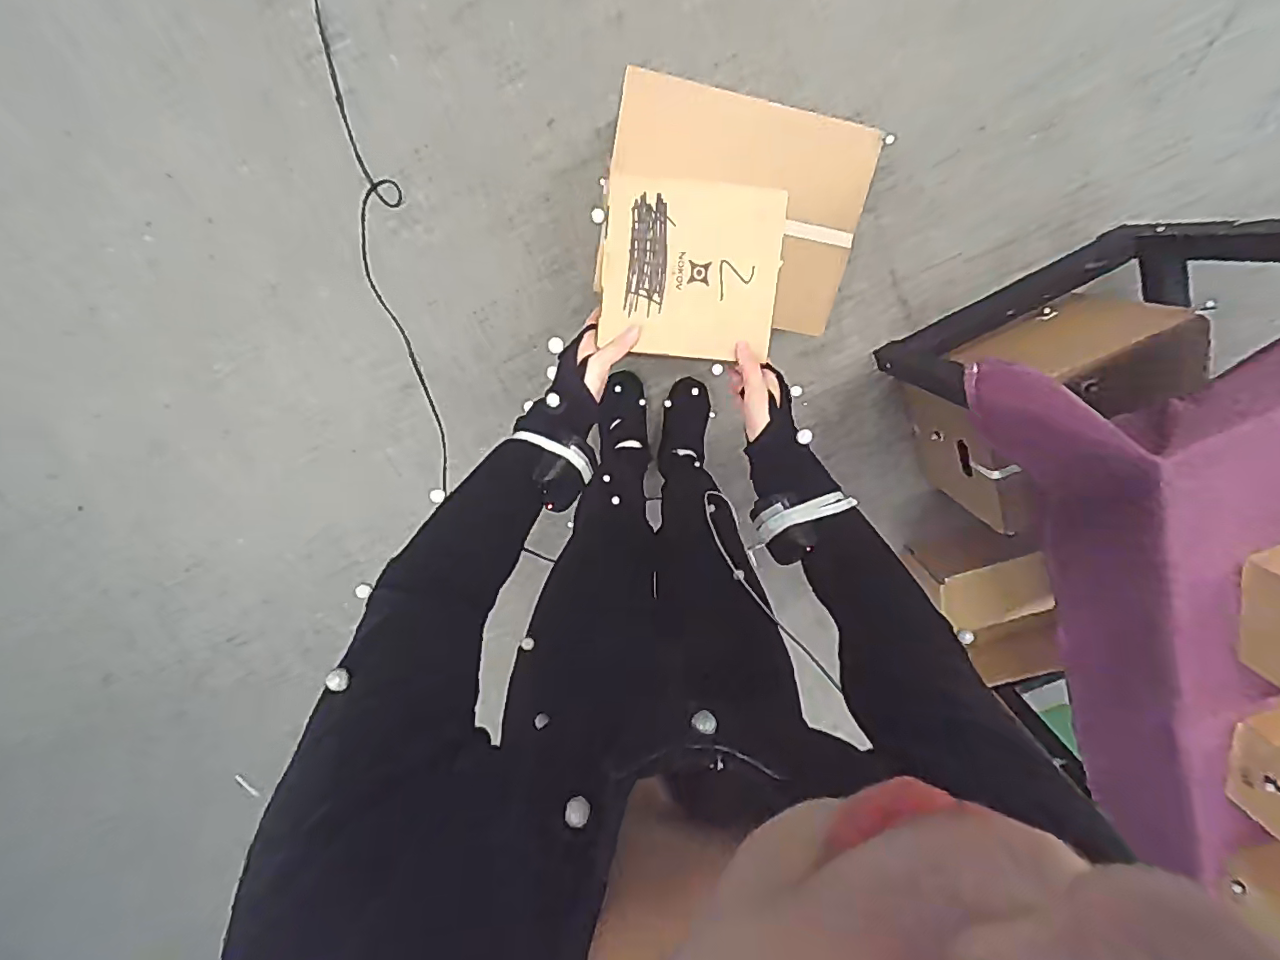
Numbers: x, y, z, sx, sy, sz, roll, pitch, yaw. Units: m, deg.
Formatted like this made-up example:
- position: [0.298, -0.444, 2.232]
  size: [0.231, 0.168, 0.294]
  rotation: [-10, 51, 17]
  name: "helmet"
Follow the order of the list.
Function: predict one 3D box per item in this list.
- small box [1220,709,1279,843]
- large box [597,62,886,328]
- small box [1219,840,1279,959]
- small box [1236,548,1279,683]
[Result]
- position: [0.938, 0.408, 0.704]
  size: [0.179, 0.176, 0.168]
  rotation: [-18, 114, 6]
  name: "small box"
- position: [0.139, -0.486, 0.979]
  size: [0.408, 0.320, 0.320]
  rotation: [9, 114, -8]
  name: "large box"
- position: [1.058, 0.679, 0.830]
  size: [0.179, 0.176, 0.168]
  rotation: [-23, 113, 6]
  name: "small box"
- position: [0.815, 0.165, 0.584]
  size: [0.168, 0.176, 0.179]
  rotation: [-22, 113, 7]
  name: "small box"
